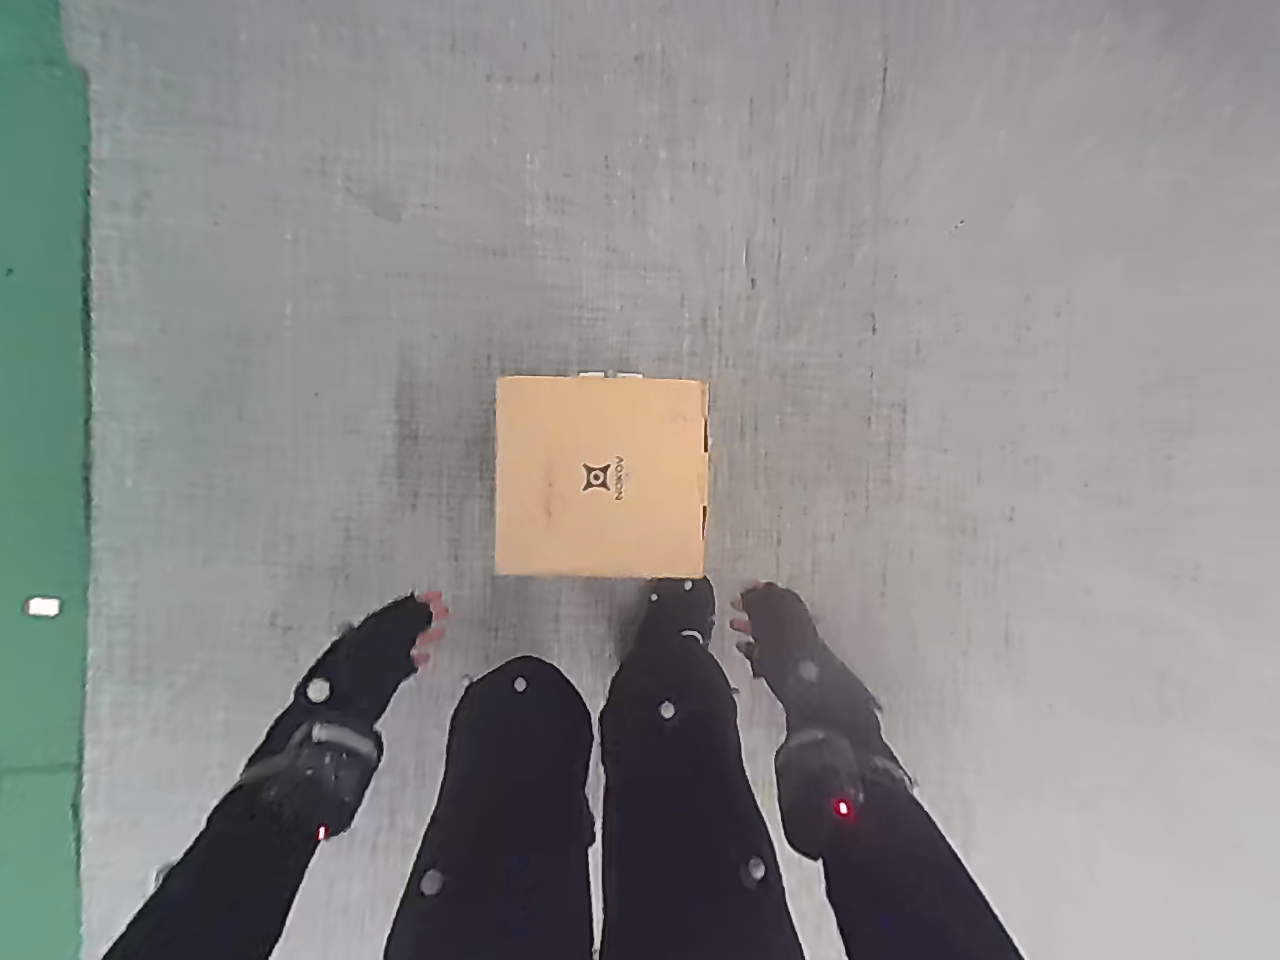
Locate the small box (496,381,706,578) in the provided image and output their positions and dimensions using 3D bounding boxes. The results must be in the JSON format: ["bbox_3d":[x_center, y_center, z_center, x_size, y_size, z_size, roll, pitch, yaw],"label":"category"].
[{"bbox_3d":[-0.033,-0.002,0.527,0.179,0.176,0.168,0,90,0],"label":"small box"}]
